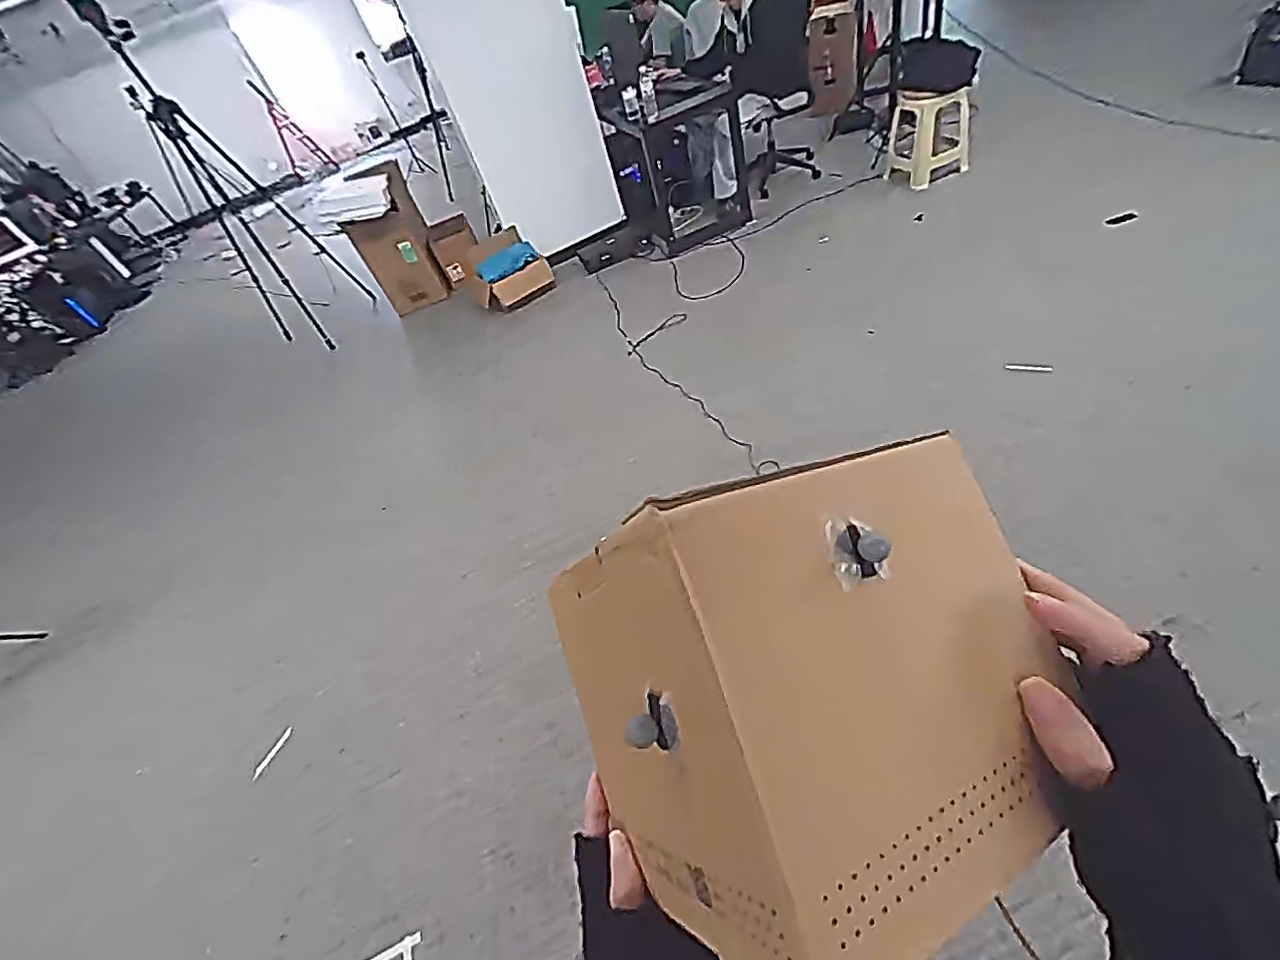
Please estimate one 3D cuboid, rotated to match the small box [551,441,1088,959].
[{"bbox_3d":[0.074,0.101,0.281,0.179,0.168,0.176,-12,75,-26],"label":"small box"}]
